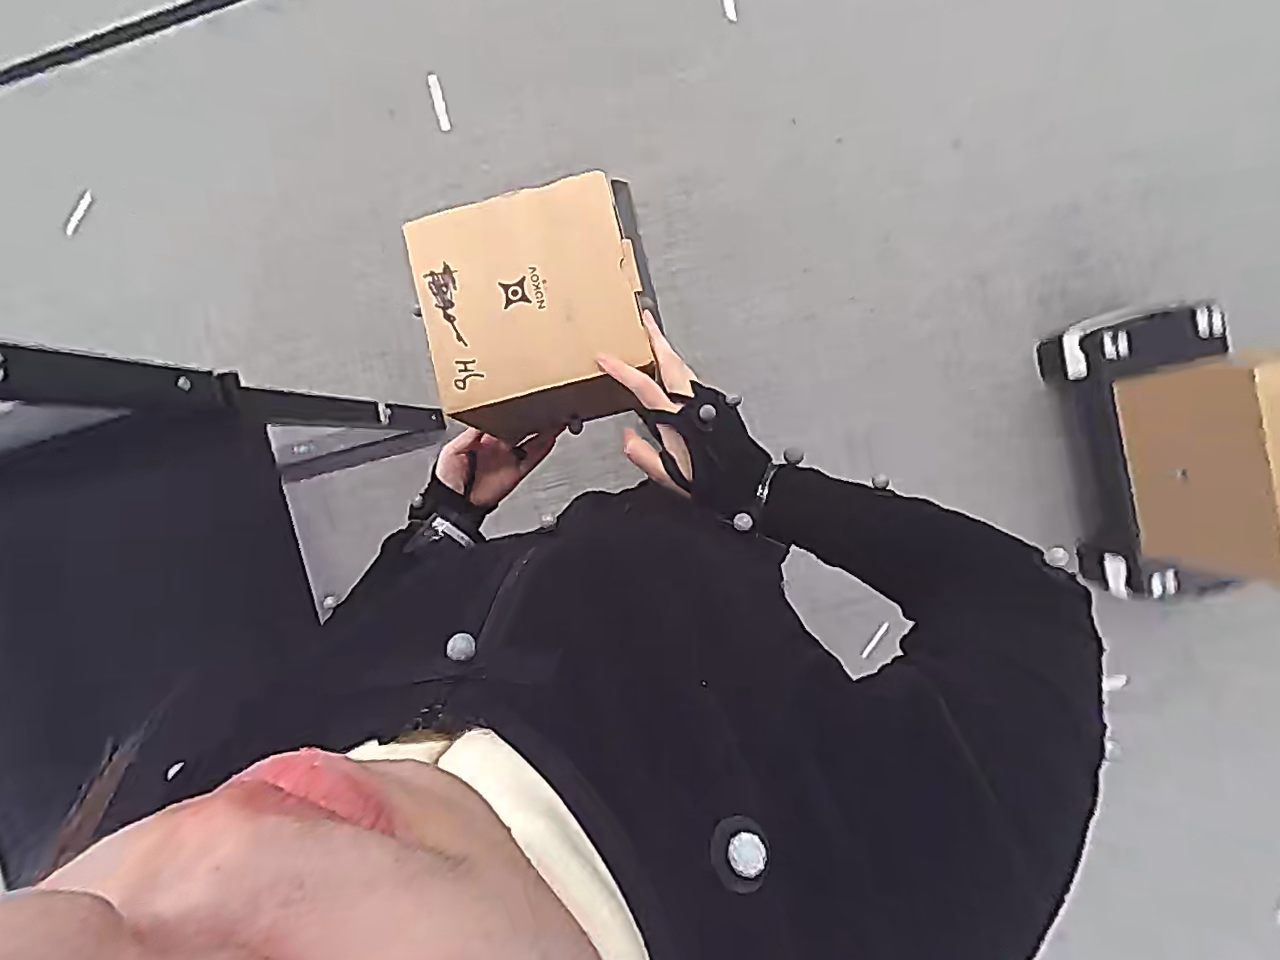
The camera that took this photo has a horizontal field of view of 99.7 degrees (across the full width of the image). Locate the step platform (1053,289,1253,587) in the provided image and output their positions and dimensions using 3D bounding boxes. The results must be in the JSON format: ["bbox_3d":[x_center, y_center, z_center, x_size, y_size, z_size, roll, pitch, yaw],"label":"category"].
[{"bbox_3d":[1.229,-0.092,1.290,0.286,0.204,0.684,-9,92,5],"label":"step platform"}]

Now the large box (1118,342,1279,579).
[{"bbox_3d":[1.245,-0.056,1.052,0.320,0.320,0.408,-14,91,4],"label":"large box"}]

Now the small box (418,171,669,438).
[{"bbox_3d":[-0.076,-0.144,0.503,0.179,0.176,0.168,-12,85,0],"label":"small box"}]
